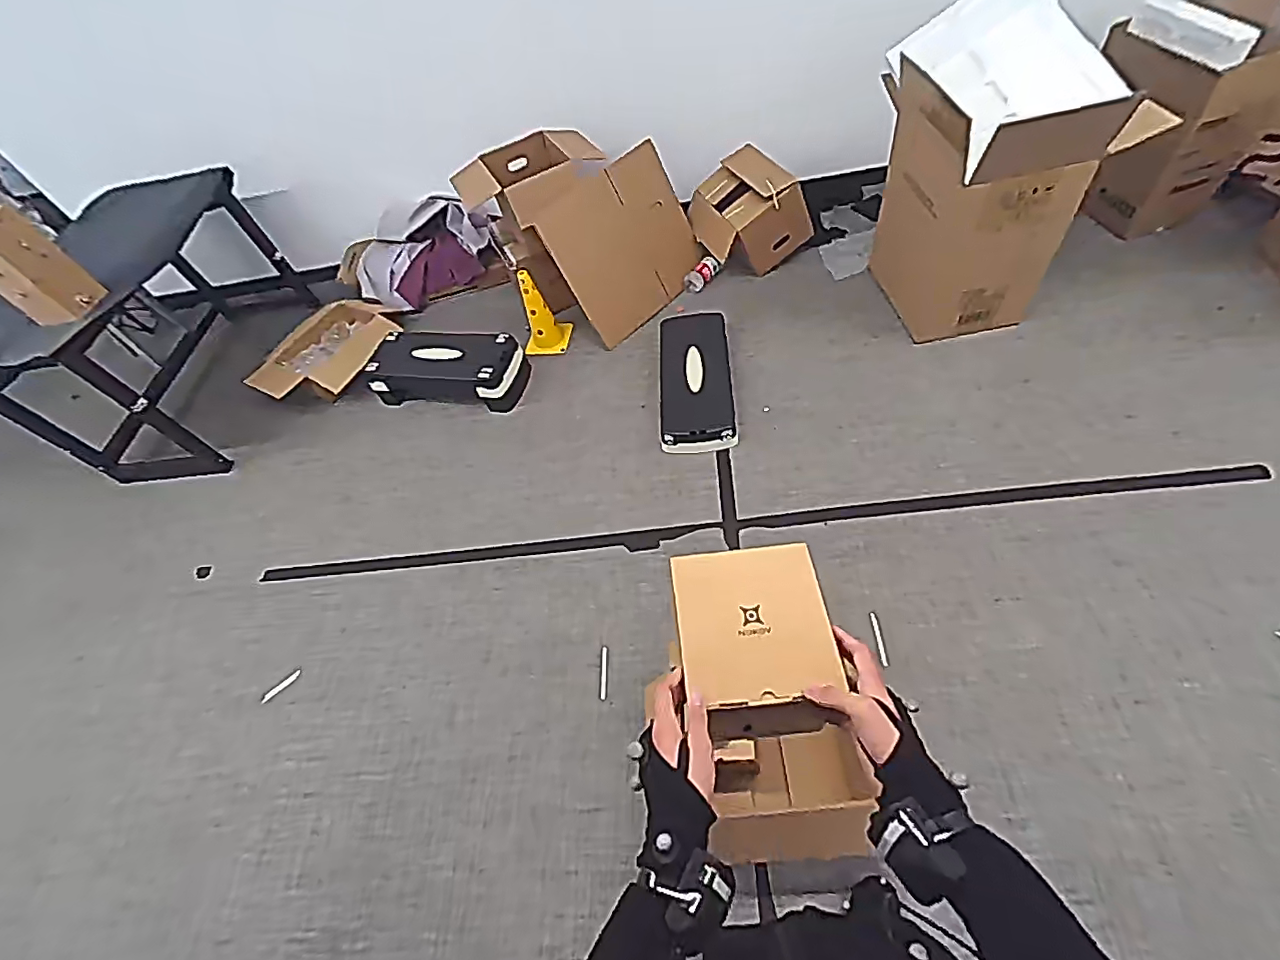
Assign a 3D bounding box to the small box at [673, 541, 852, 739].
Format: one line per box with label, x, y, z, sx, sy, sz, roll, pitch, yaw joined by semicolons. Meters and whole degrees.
small box;0.129;0.195;0.650;0.168;0.176;0.179;-6;54;1
